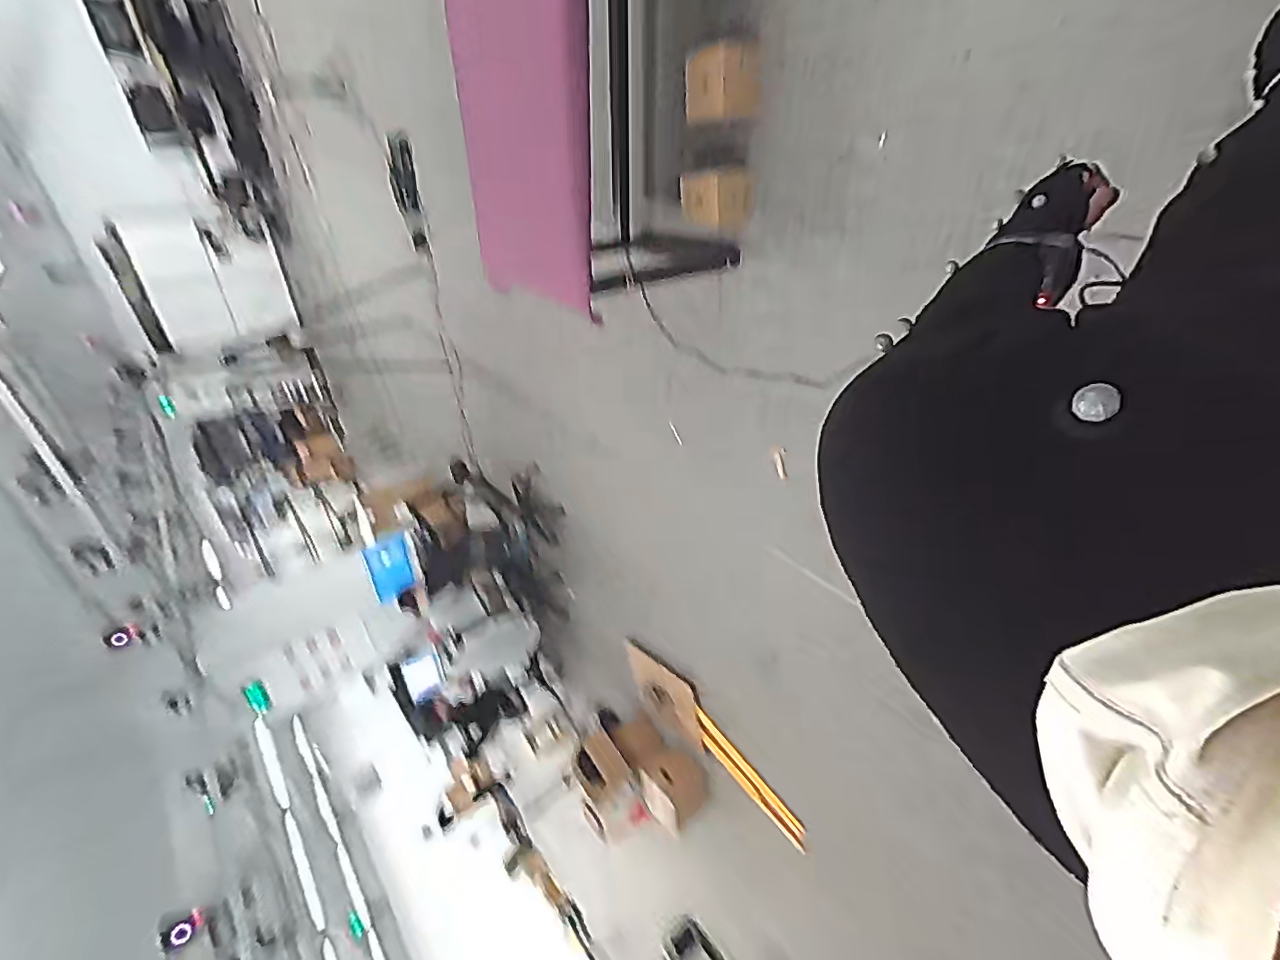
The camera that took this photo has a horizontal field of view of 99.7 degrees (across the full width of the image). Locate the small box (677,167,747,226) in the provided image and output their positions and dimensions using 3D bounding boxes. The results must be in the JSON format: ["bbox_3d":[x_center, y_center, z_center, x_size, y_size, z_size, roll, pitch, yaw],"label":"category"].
[{"bbox_3d":[0.250,-0.966,1.846,0.179,0.176,0.168,25,130,44],"label":"small box"}]

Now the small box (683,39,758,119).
[{"bbox_3d":[0.251,-1.235,1.675,0.168,0.176,0.179,28,132,44],"label":"small box"}]
